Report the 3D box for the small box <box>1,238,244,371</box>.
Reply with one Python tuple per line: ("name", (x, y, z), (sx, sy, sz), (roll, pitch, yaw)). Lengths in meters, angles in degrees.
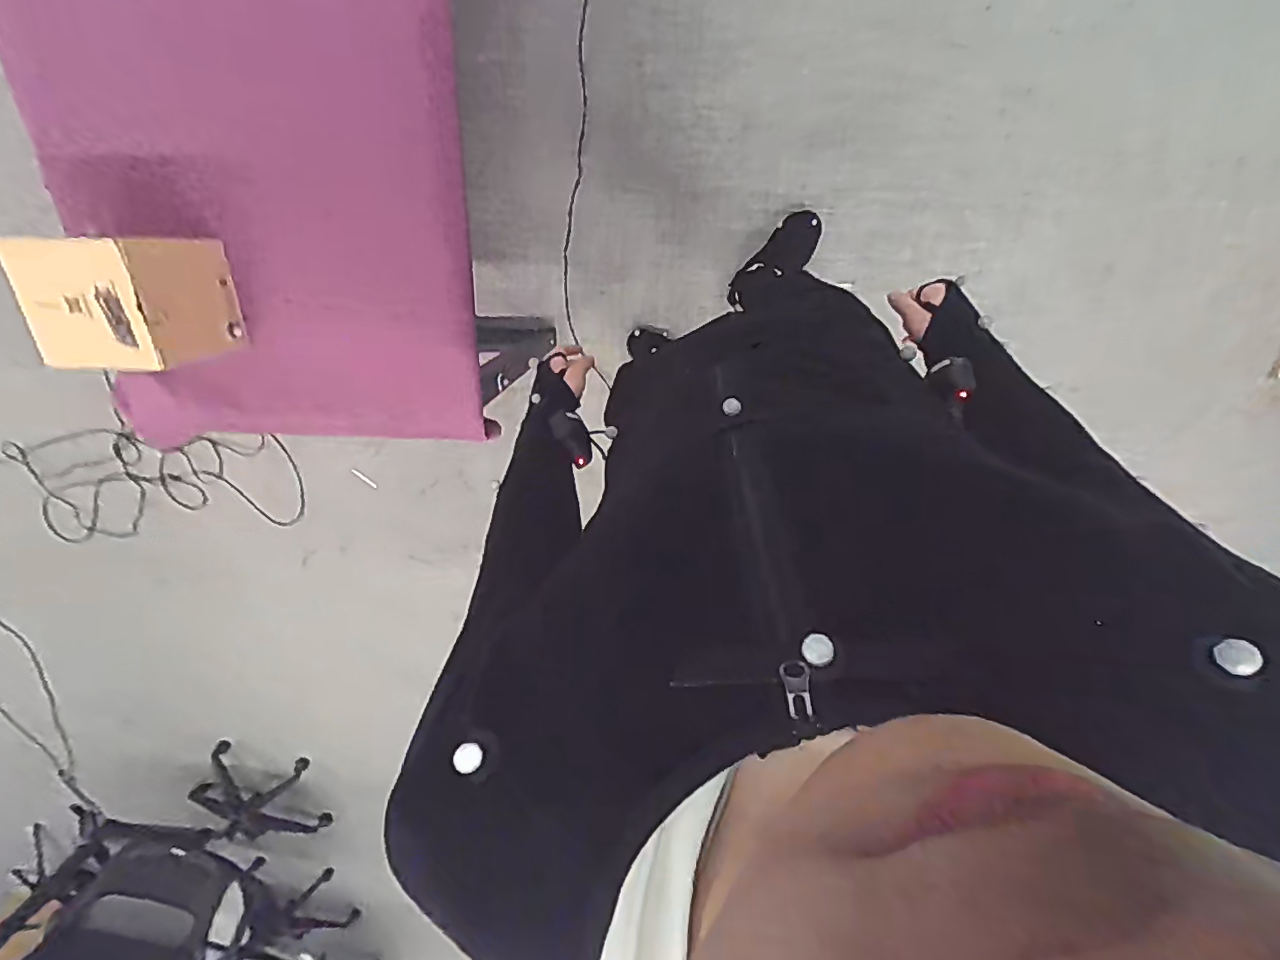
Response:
("small box", (-0.724, -0.261, 0.788), (0.179, 0.176, 0.168), (3, 114, 5))
